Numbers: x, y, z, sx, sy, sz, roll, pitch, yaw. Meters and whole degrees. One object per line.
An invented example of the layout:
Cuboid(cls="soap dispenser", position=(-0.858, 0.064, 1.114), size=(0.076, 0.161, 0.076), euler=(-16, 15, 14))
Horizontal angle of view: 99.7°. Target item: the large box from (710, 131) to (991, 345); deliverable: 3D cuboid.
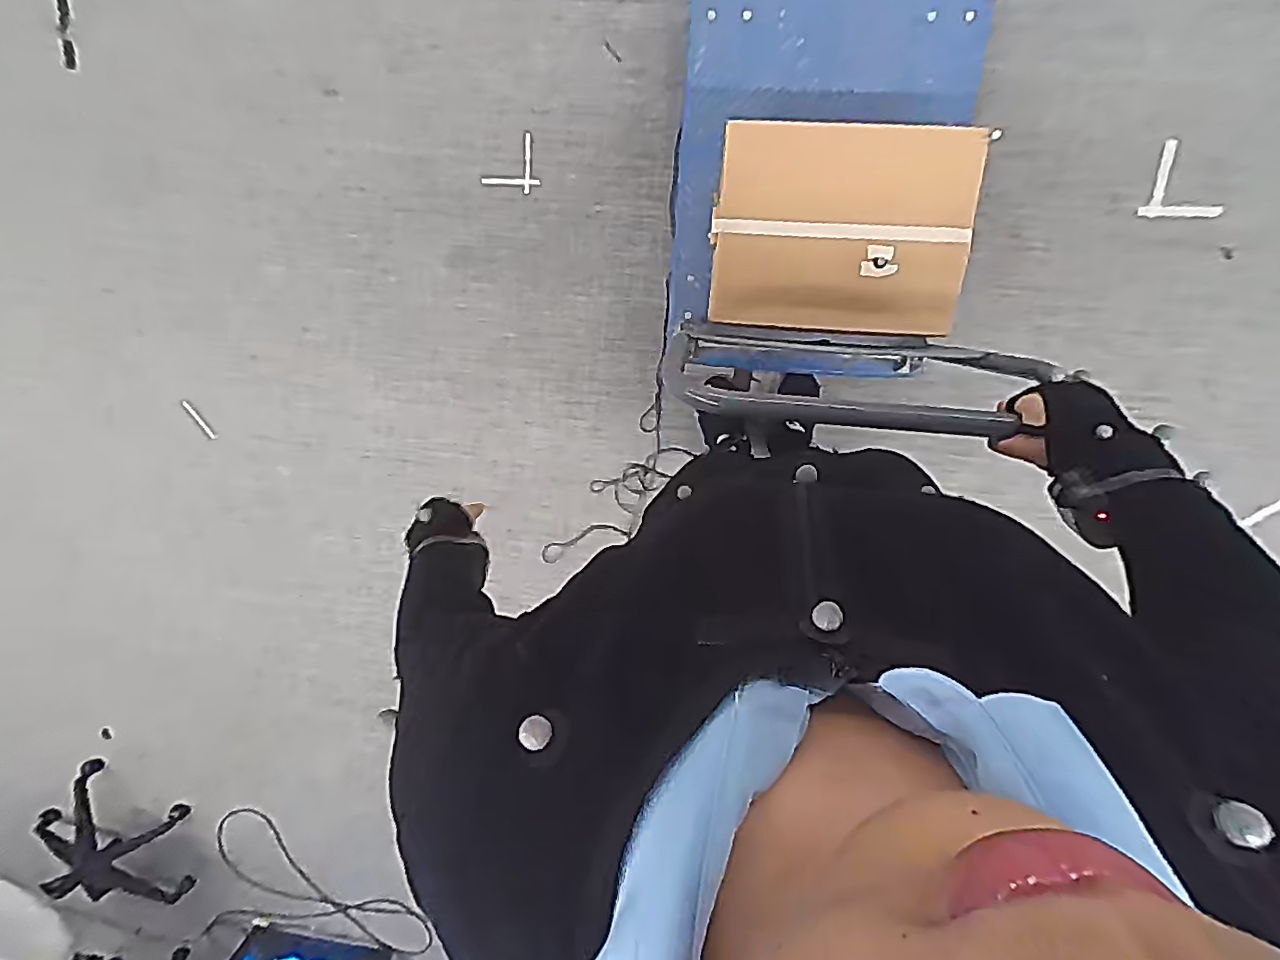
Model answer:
Cuboid(cls="large box", position=(0.344, -0.423, 1.017), size=(0.408, 0.320, 0.320), euler=(5, 105, 5))
